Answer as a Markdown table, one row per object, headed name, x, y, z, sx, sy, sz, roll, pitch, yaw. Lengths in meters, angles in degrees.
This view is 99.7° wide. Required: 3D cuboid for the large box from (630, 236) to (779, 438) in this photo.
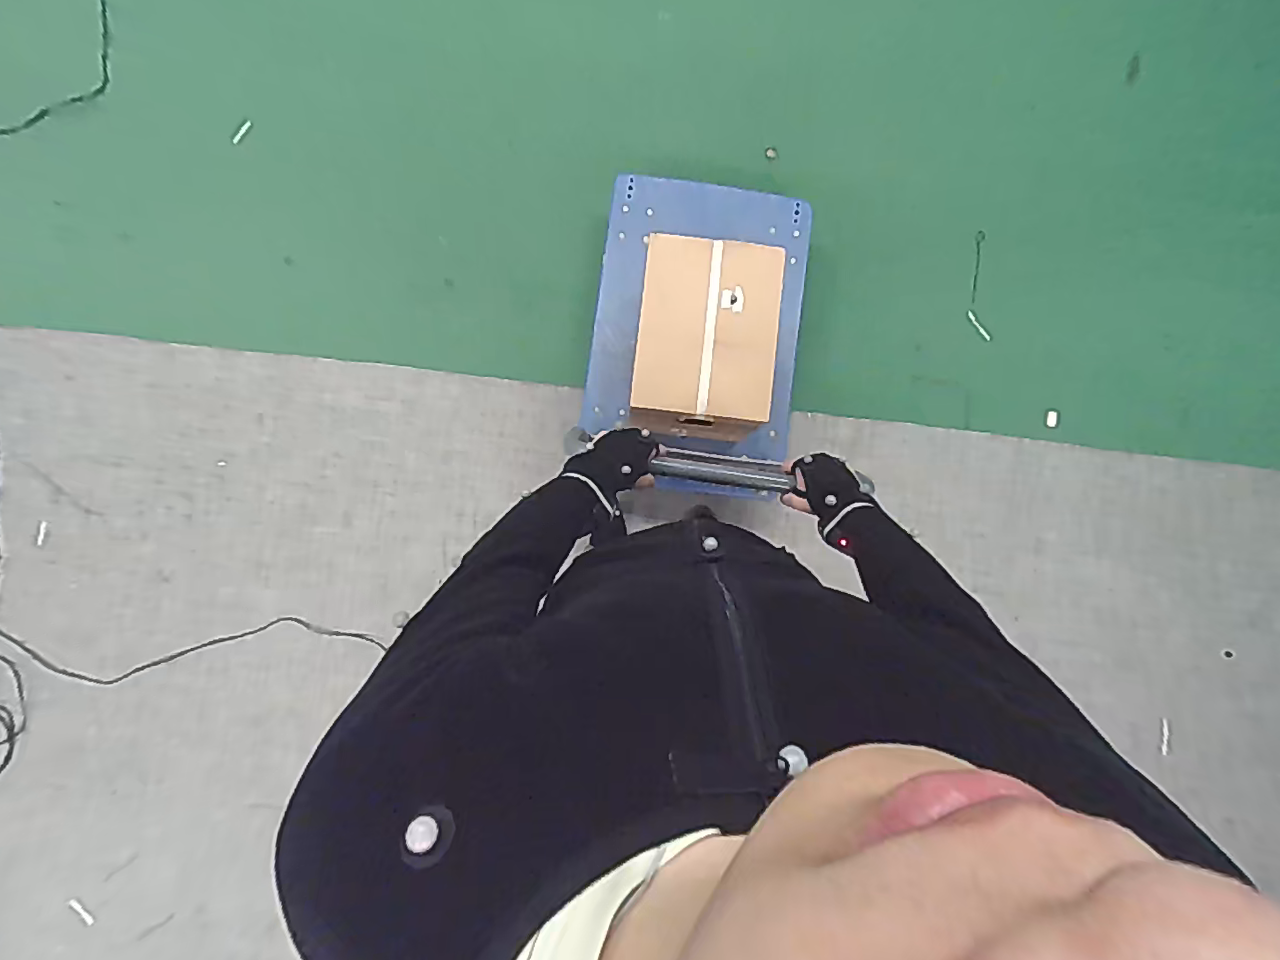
| name | x | y | z | sx | sy | sz | roll | pitch | yaw |
| --- | --- | --- | --- | --- | --- | --- | --- | --- | --- |
| large box | 0.147 | -0.333 | 1.365 | 0.320 | 0.320 | 0.408 | 6 | 86 | -1 |
